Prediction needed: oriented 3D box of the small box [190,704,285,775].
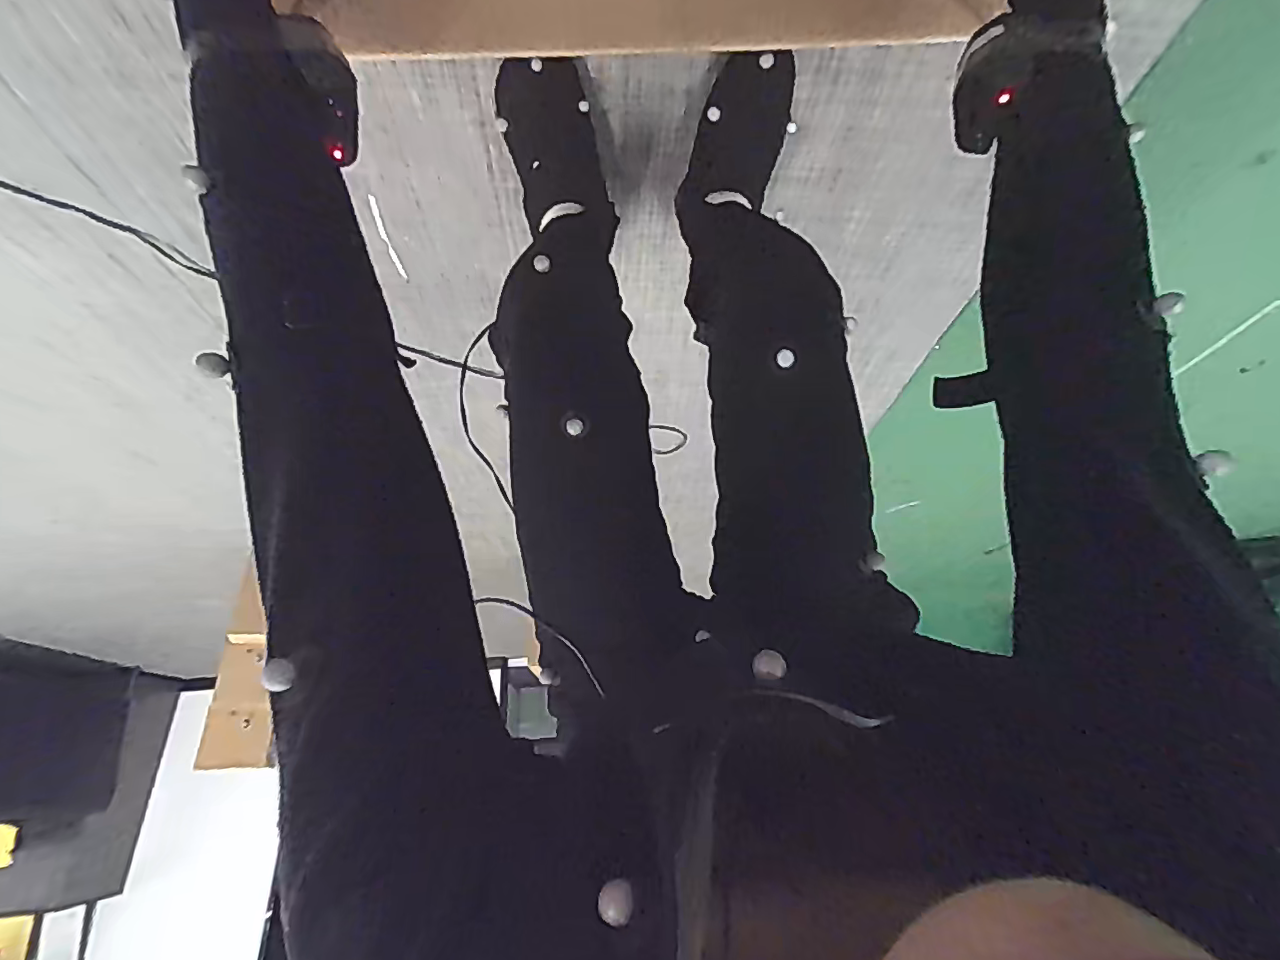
[{"bbox_3d":[-1.131,0.737,1.534,0.168,0.176,0.179,7,149,-21],"label":"small box"}]
